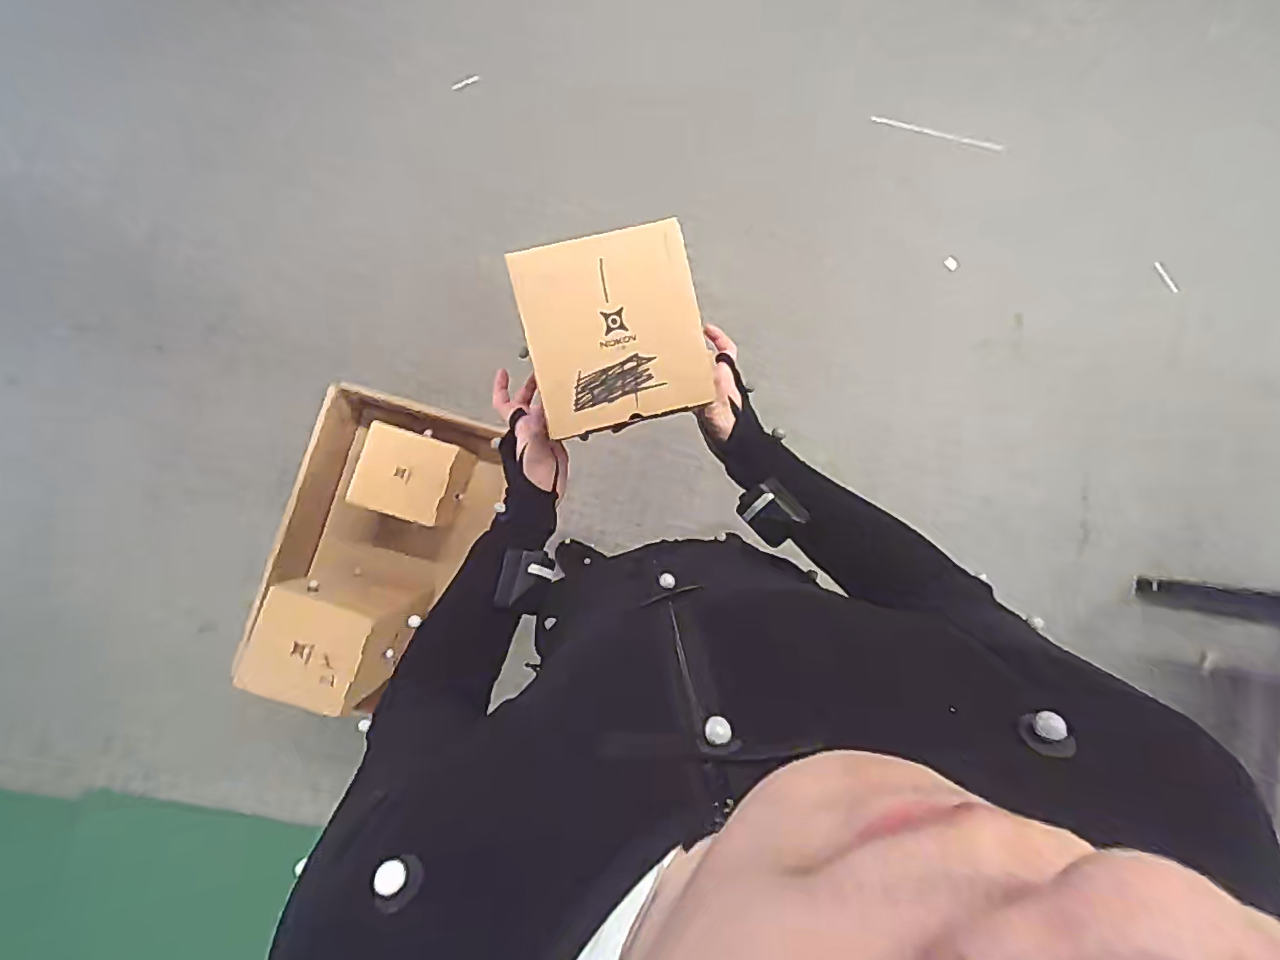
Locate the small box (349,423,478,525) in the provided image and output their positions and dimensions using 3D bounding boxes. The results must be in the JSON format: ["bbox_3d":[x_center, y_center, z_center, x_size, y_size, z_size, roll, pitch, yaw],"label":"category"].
[{"bbox_3d":[-0.464,-0.004,1.134,0.179,0.176,0.168,17,85,-3],"label":"small box"}]

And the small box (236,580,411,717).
[{"bbox_3d":[-0.535,0.279,0.941,0.179,0.176,0.168,19,85,-2],"label":"small box"}]

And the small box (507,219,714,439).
[{"bbox_3d":[-0.031,-0.151,0.582,0.168,0.176,0.179,-13,99,-4],"label":"small box"}]
